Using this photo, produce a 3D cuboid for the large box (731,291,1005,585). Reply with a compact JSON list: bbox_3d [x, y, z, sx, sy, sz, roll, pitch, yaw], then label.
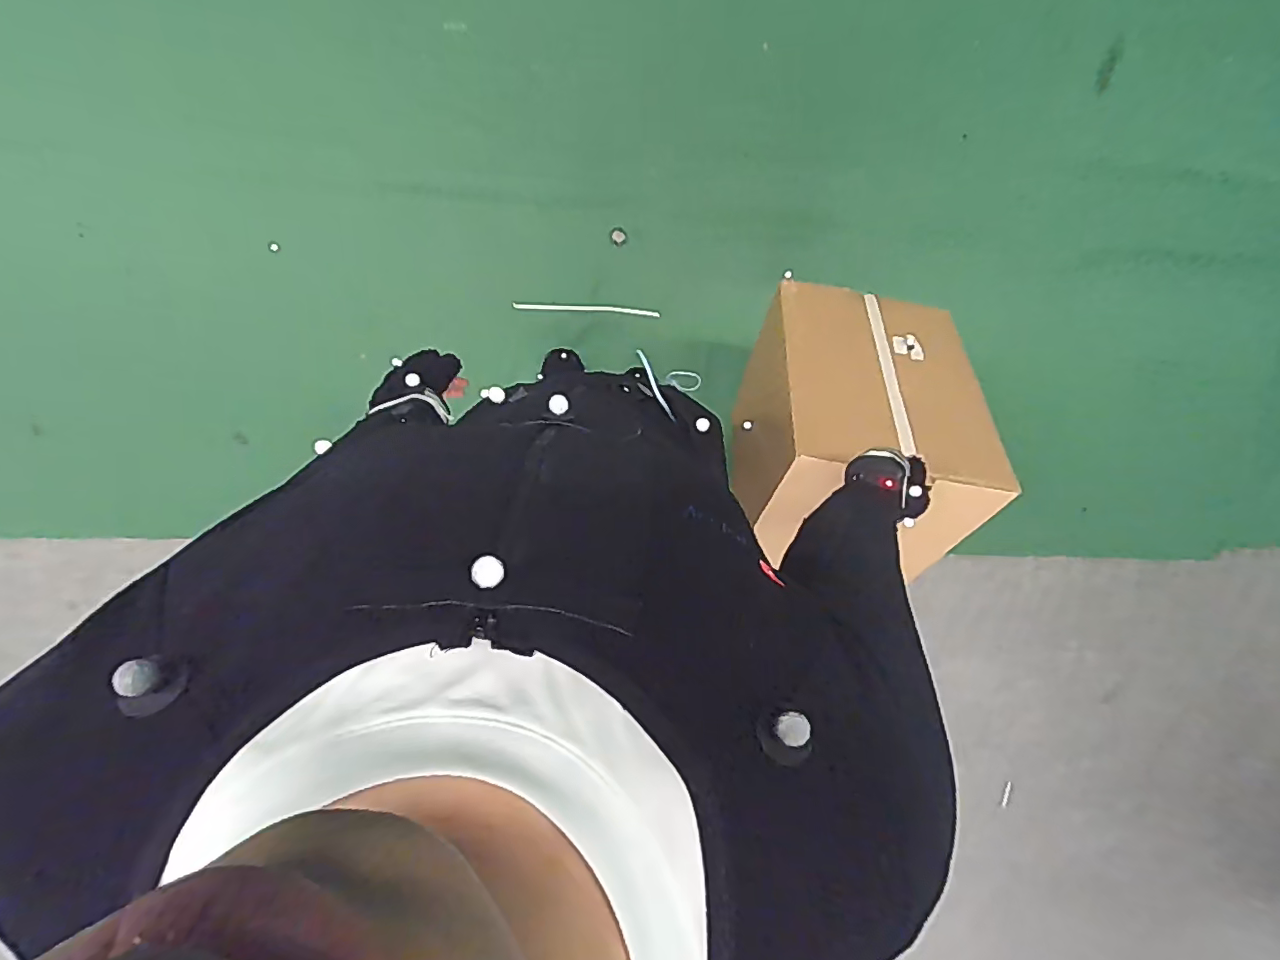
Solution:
[{"bbox_3d":[0.354,-0.070,0.974,0.320,0.408,0.320,11,142,-4],"label":"large box"}]
